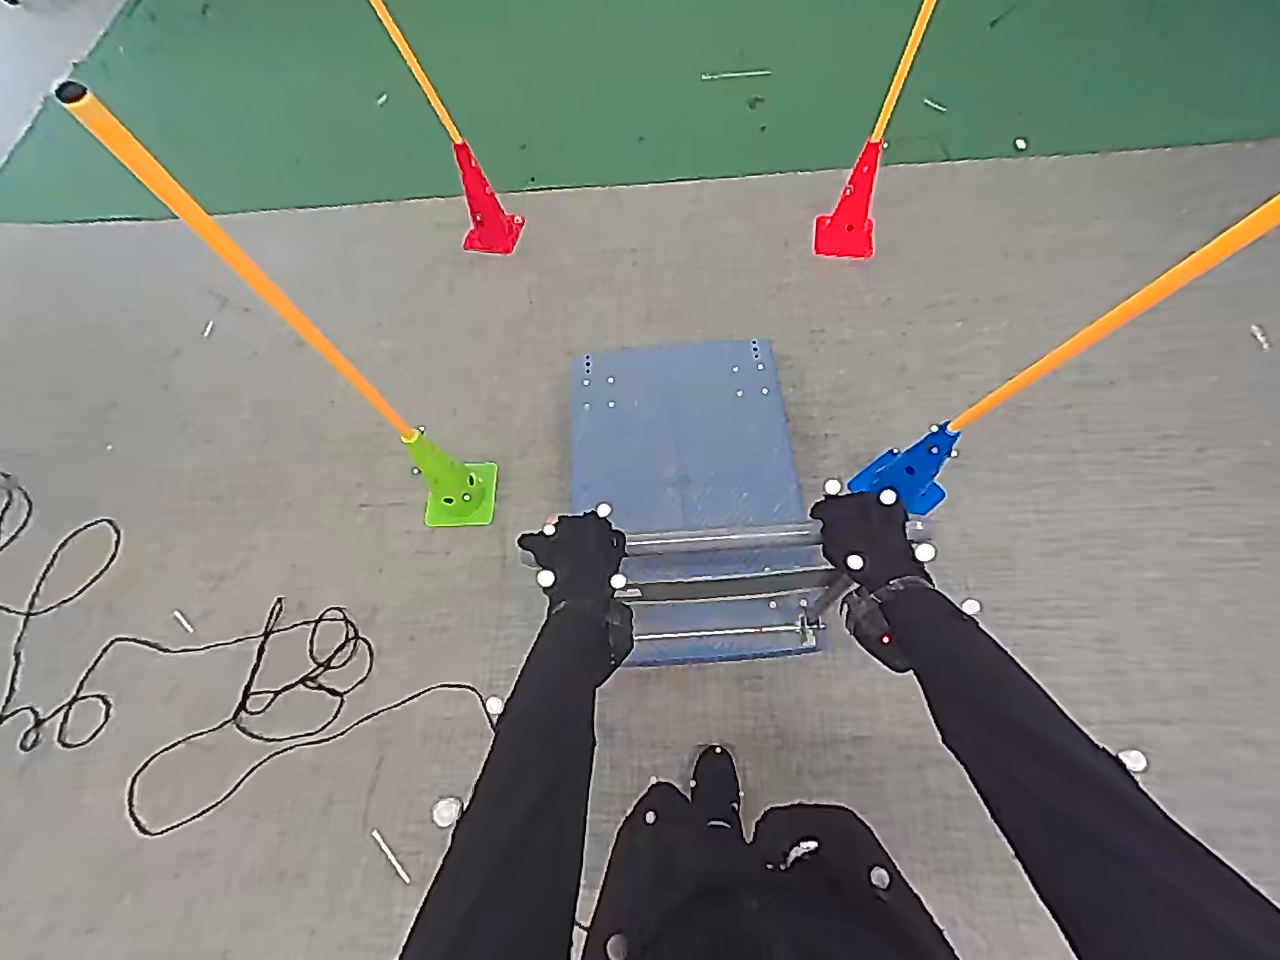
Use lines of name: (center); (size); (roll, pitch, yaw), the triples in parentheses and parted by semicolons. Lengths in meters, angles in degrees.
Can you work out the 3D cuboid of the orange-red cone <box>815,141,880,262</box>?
orange-red cone: (0.711, -0.921, 1.764); (0.198, 0.360, 0.199); (8, 67, 9)
